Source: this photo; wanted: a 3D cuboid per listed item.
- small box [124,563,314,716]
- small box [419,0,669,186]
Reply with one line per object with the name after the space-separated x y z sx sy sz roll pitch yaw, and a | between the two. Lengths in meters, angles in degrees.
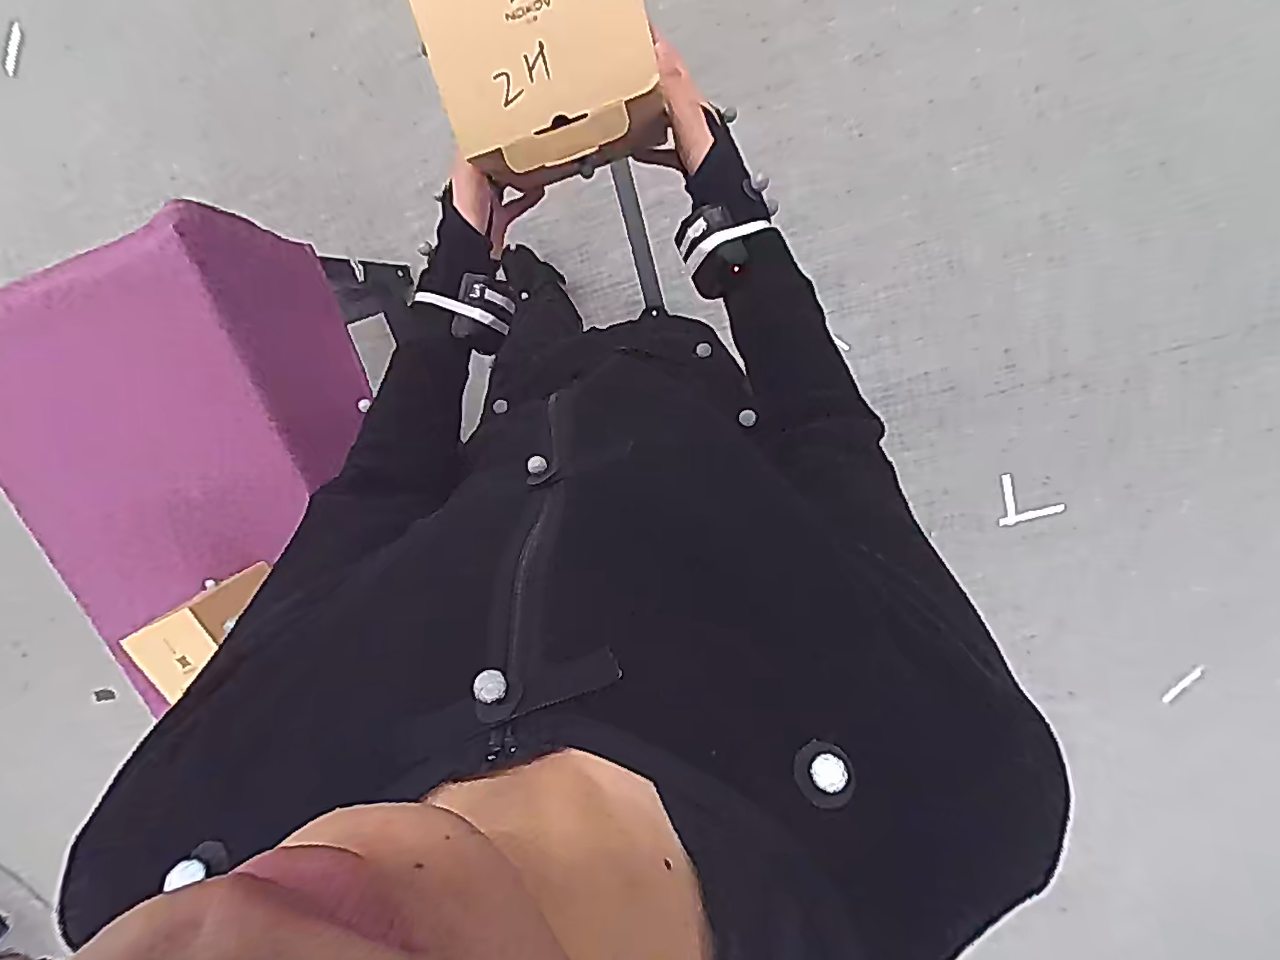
-0.743 0.282 0.978 0.168 0.176 0.179 -25 104 13 | small box
-0.074 -0.381 0.464 0.168 0.176 0.179 -13 109 9 | small box
